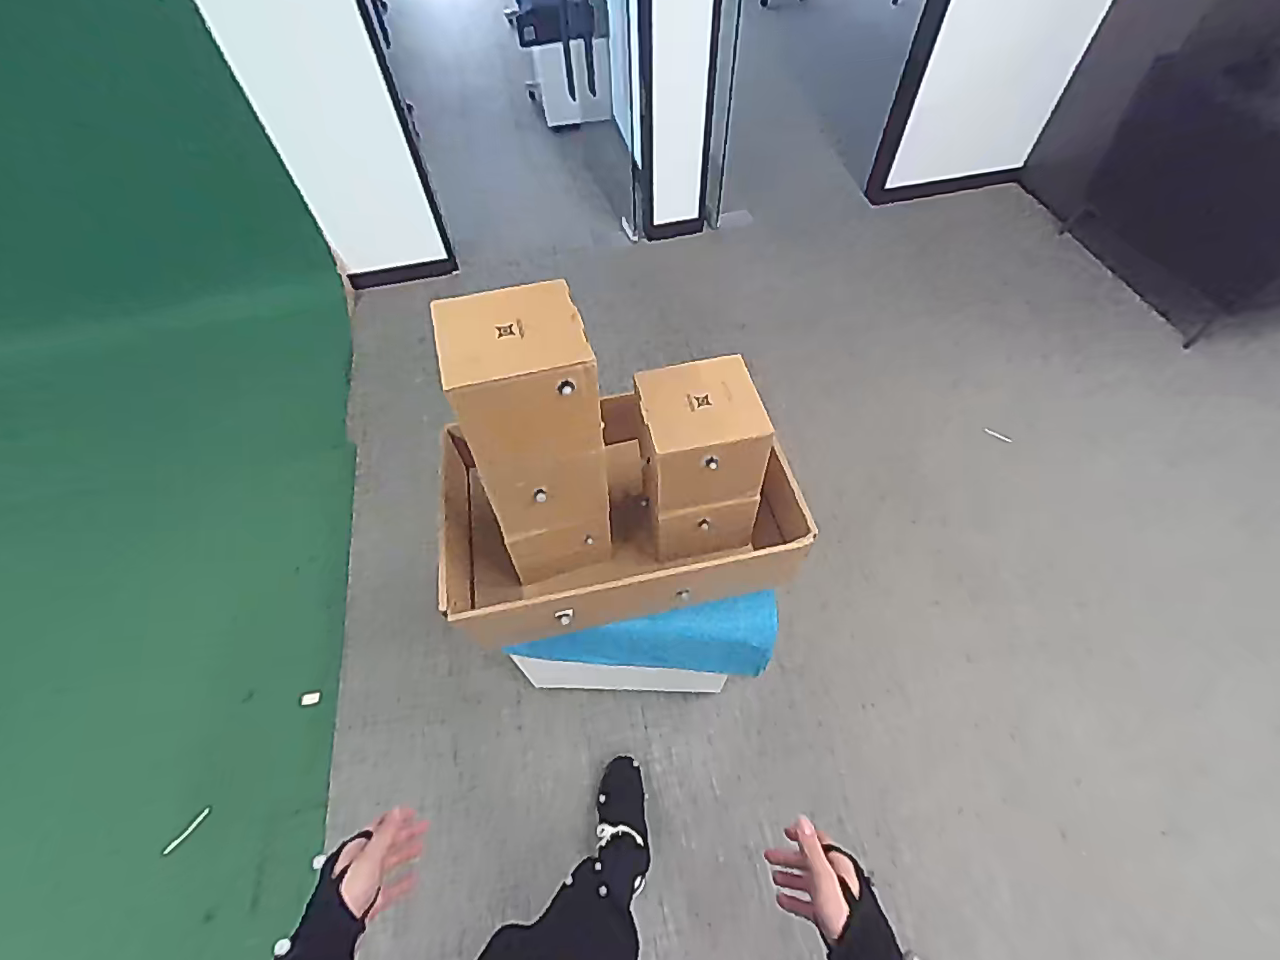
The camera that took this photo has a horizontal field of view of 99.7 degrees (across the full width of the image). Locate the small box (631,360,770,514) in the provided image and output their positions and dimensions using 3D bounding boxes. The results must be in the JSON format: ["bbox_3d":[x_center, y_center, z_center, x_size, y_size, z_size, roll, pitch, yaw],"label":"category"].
[{"bbox_3d":[0.089,-0.063,0.862,0.179,0.176,0.168,-10,56,-4],"label":"small box"}]

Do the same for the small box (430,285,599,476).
[{"bbox_3d":[-0.160,-0.127,0.716,0.179,0.176,0.168,-14,56,-11],"label":"small box"}]

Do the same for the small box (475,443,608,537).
[{"bbox_3d":[-0.157,-0.031,0.849,0.179,0.176,0.168,-14,56,-9],"label":"small box"}]
